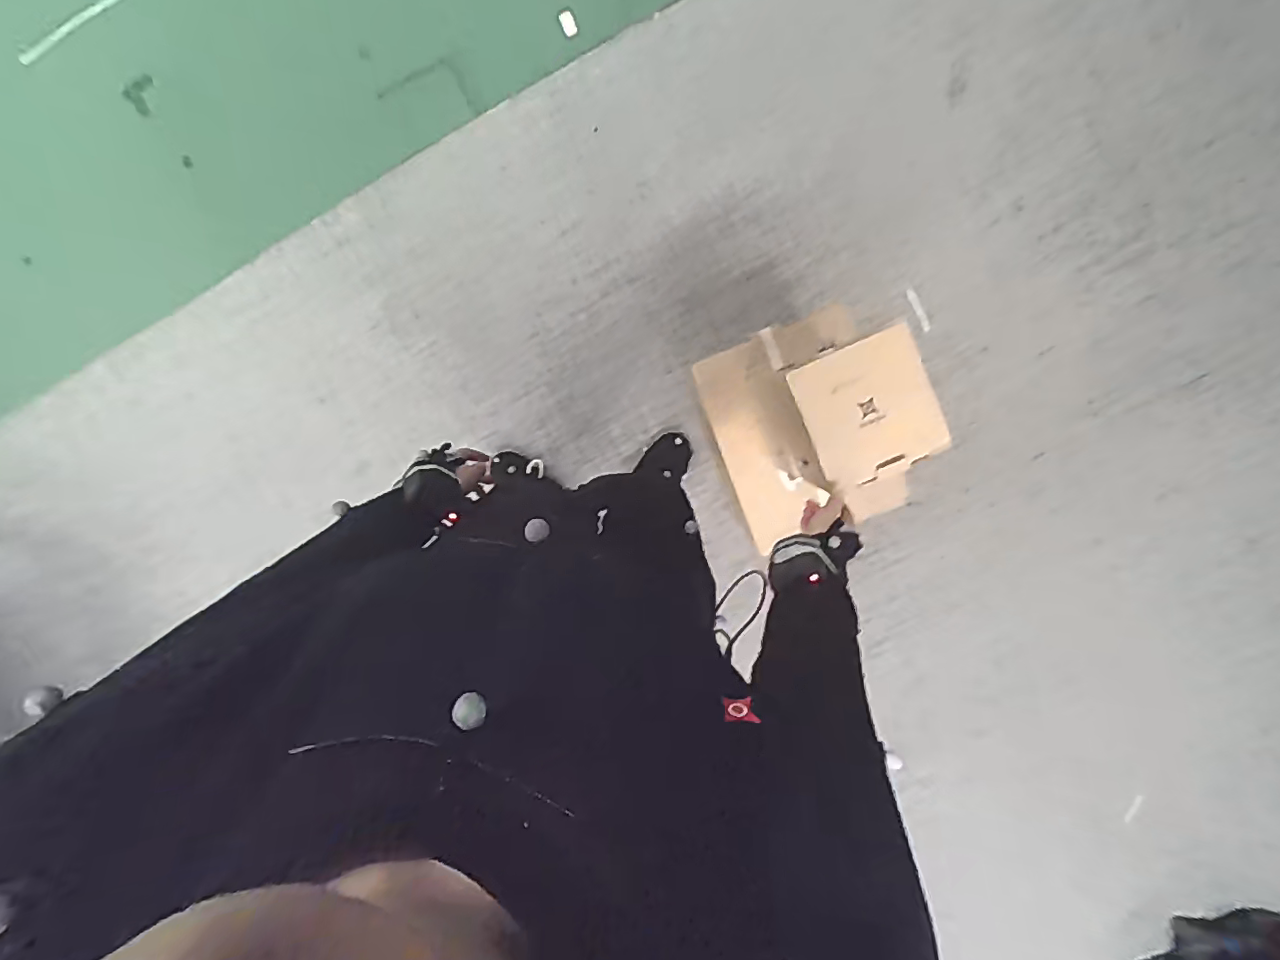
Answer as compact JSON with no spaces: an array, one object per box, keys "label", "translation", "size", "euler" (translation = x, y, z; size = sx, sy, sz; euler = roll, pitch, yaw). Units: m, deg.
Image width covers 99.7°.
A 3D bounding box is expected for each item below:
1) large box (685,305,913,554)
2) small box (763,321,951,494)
[{"label":"large box","translation":[0.316,-0.110,1.174],"size":[0.320,0.320,0.408],"euler":[-21,97,6]},{"label":"small box","translation":[0.292,-0.101,0.765],"size":[0.168,0.176,0.179],"euler":[-24,96,4]}]
